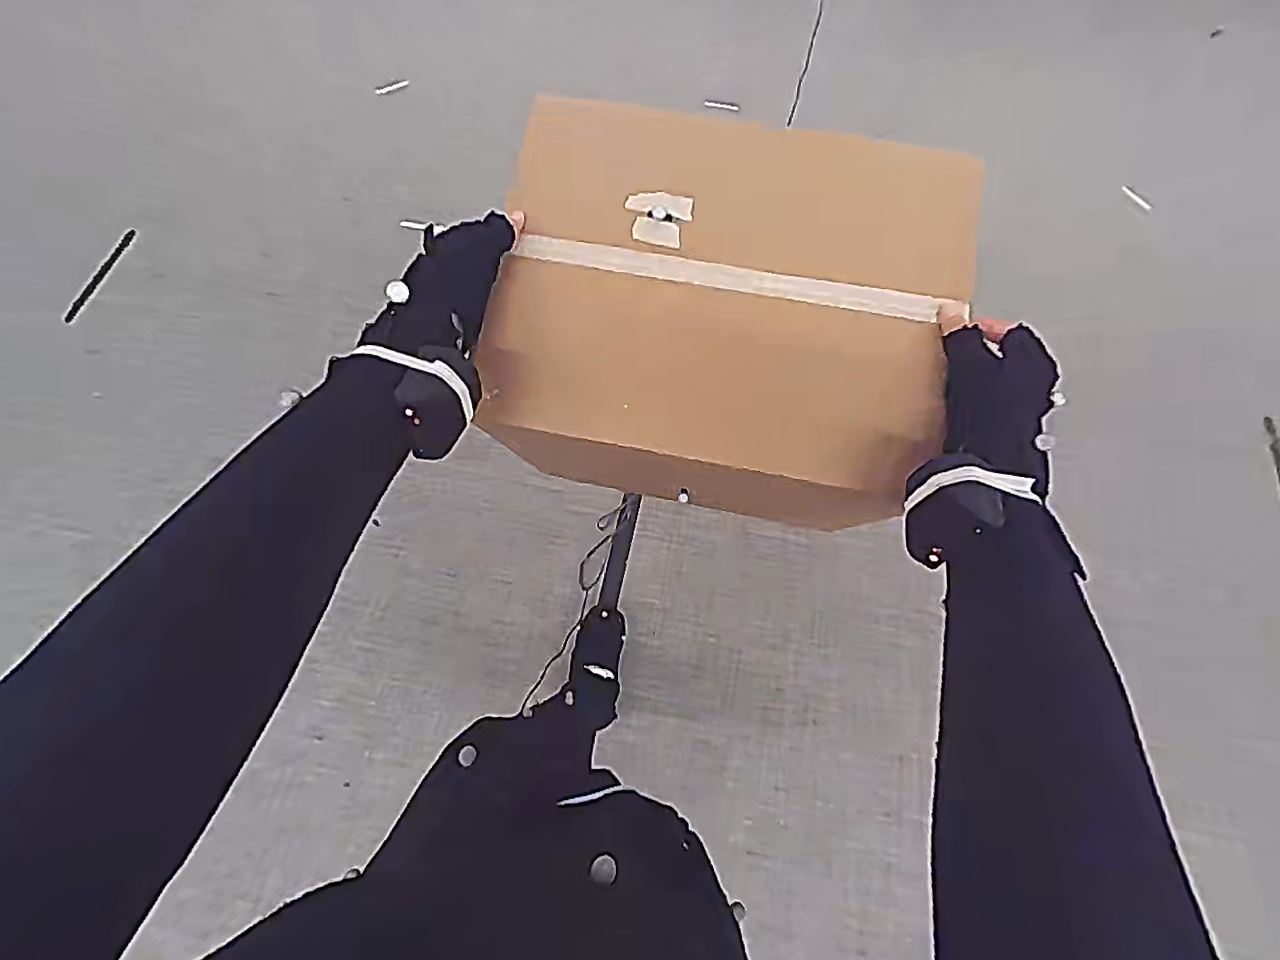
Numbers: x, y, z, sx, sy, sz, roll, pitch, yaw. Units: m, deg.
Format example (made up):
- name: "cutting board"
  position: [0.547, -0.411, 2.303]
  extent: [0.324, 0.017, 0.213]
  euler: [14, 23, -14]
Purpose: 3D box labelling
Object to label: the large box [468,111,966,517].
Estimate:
- name: "large box"
  position: [0.082, -0.150, 0.626]
  extent: [0.408, 0.320, 0.320]
  euler: [11, 81, 6]
